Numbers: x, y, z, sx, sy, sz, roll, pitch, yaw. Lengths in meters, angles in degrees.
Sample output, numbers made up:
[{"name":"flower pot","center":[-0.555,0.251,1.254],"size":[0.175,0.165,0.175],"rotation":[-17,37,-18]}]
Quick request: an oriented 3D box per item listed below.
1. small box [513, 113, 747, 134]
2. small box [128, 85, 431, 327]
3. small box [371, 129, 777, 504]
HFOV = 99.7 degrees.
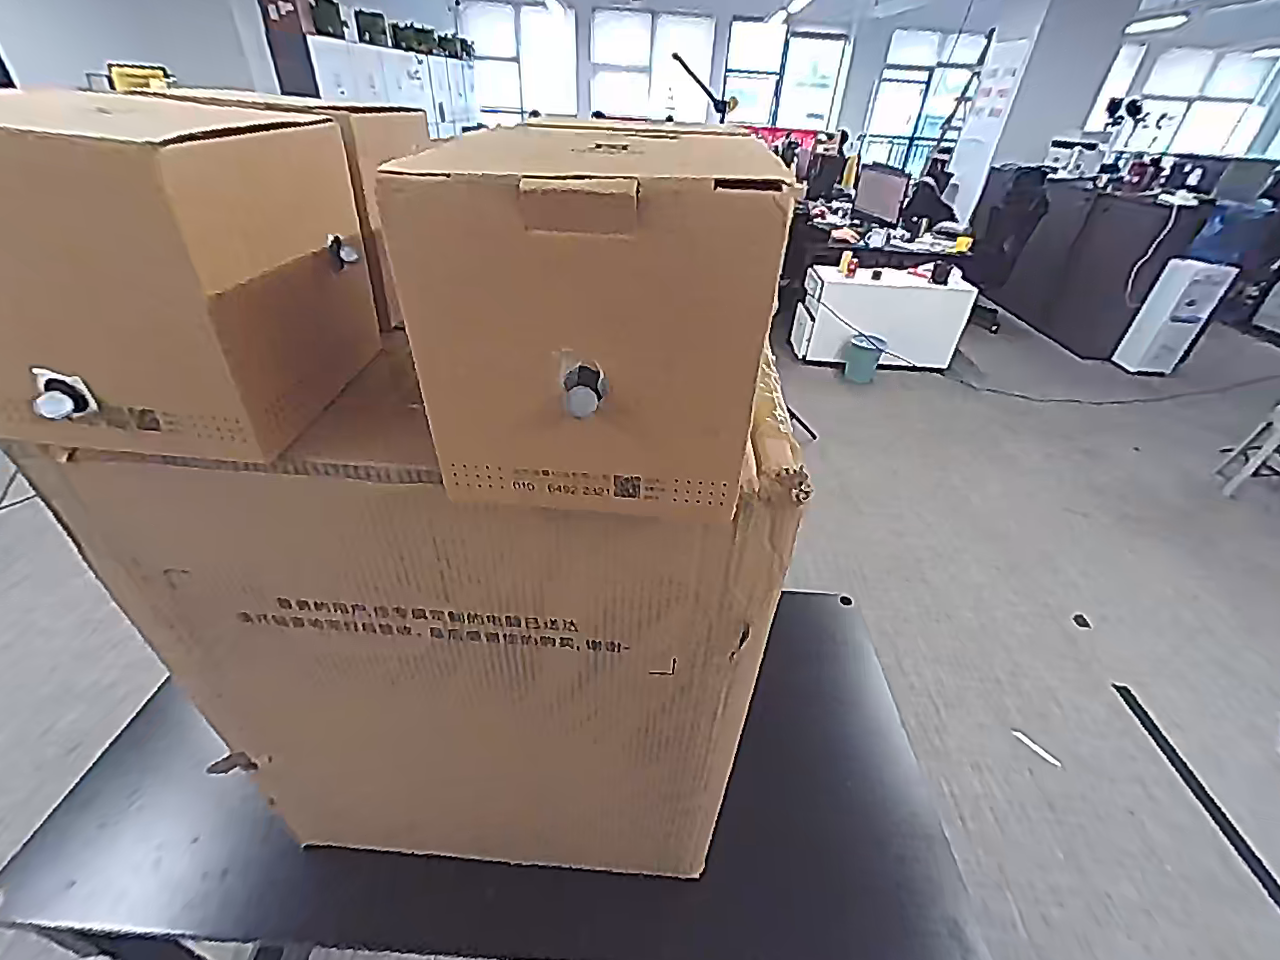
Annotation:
[{"name":"small box","center":[-0.010,-0.221,0.485],"size":[0.168,0.176,0.179],"rotation":[1,34,-1]},{"name":"small box","center":[-0.301,-0.257,0.511],"size":[0.168,0.176,0.179],"rotation":[3,34,-2]},{"name":"small box","center":[-0.021,-0.102,0.323],"size":[0.168,0.176,0.179],"rotation":[4,37,3]}]
